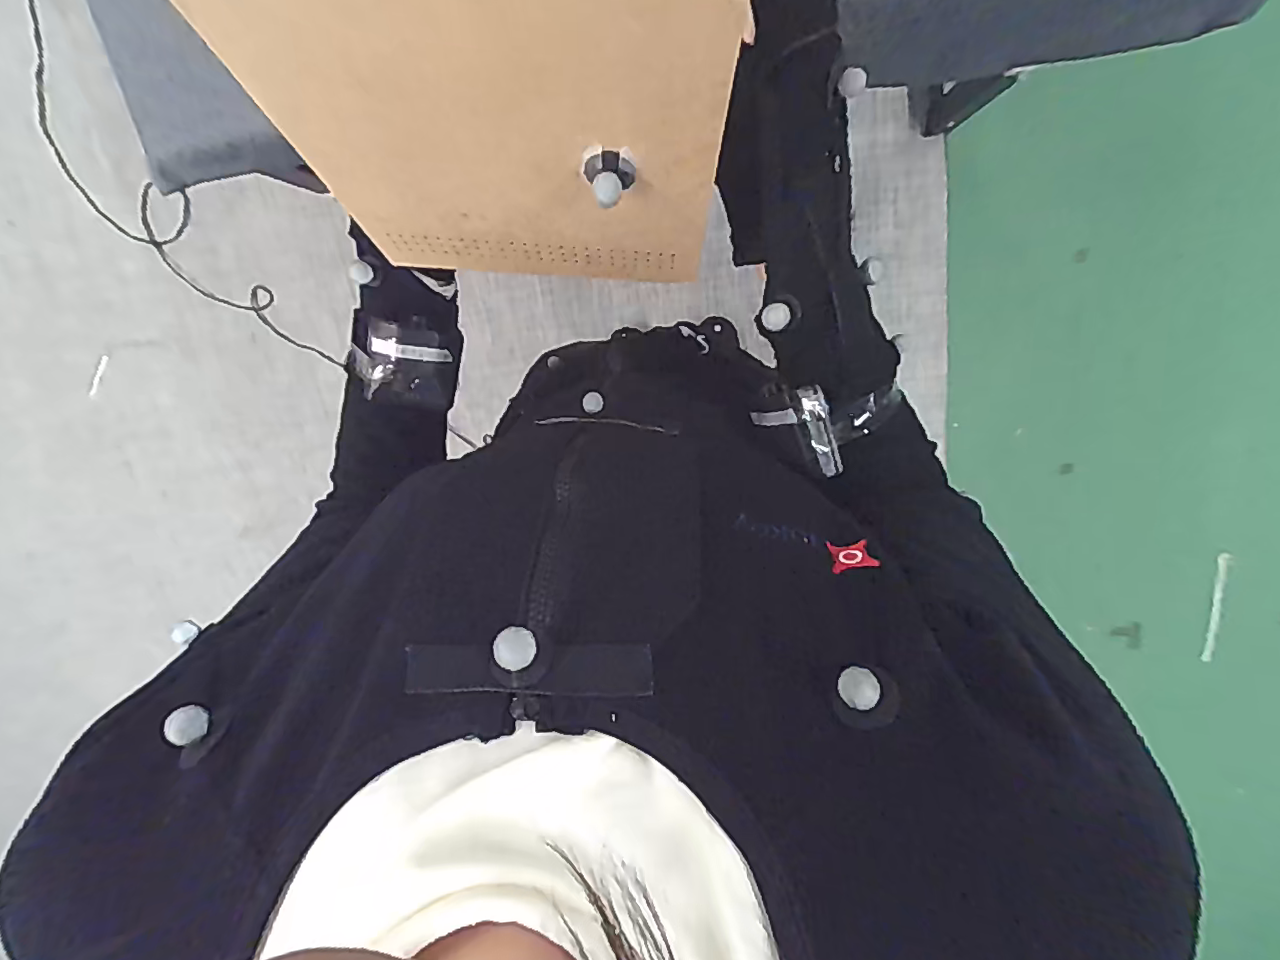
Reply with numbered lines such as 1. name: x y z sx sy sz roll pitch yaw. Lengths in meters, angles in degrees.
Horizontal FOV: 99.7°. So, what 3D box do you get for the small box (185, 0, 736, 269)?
1. small box: -0.053 -0.214 0.244 0.179 0.176 0.168 3 81 1
